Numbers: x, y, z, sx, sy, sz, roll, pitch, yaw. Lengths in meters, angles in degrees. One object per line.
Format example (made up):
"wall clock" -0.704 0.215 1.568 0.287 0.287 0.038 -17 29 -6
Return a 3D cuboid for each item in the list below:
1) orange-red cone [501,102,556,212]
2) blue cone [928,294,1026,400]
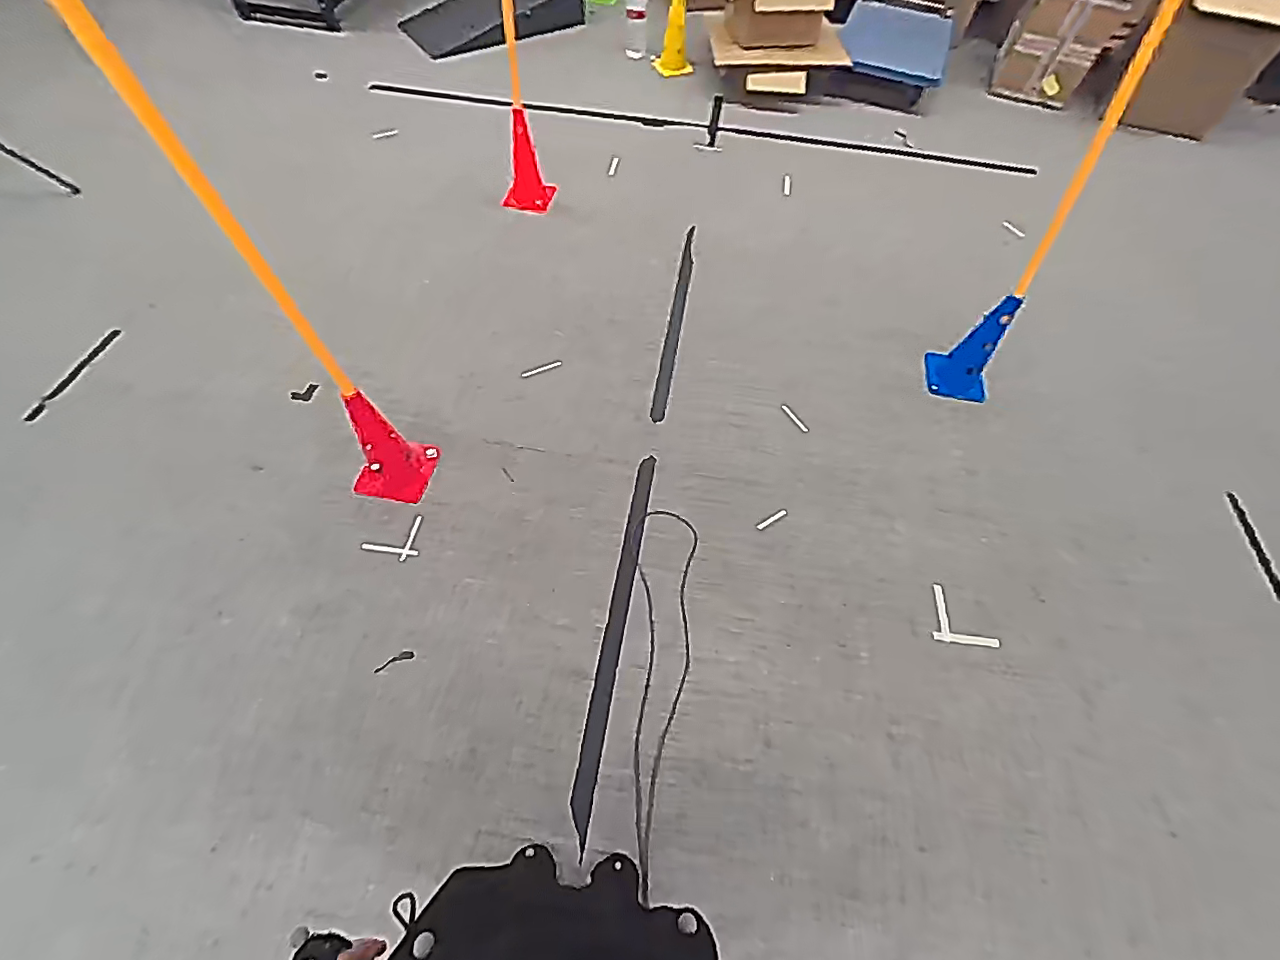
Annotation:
"orange-red cone" -0.467 -1.308 2.165 0.198 0.360 0.199 12 58 4
"blue cone" 1.116 -0.450 1.756 0.193 0.380 0.192 12 60 5
